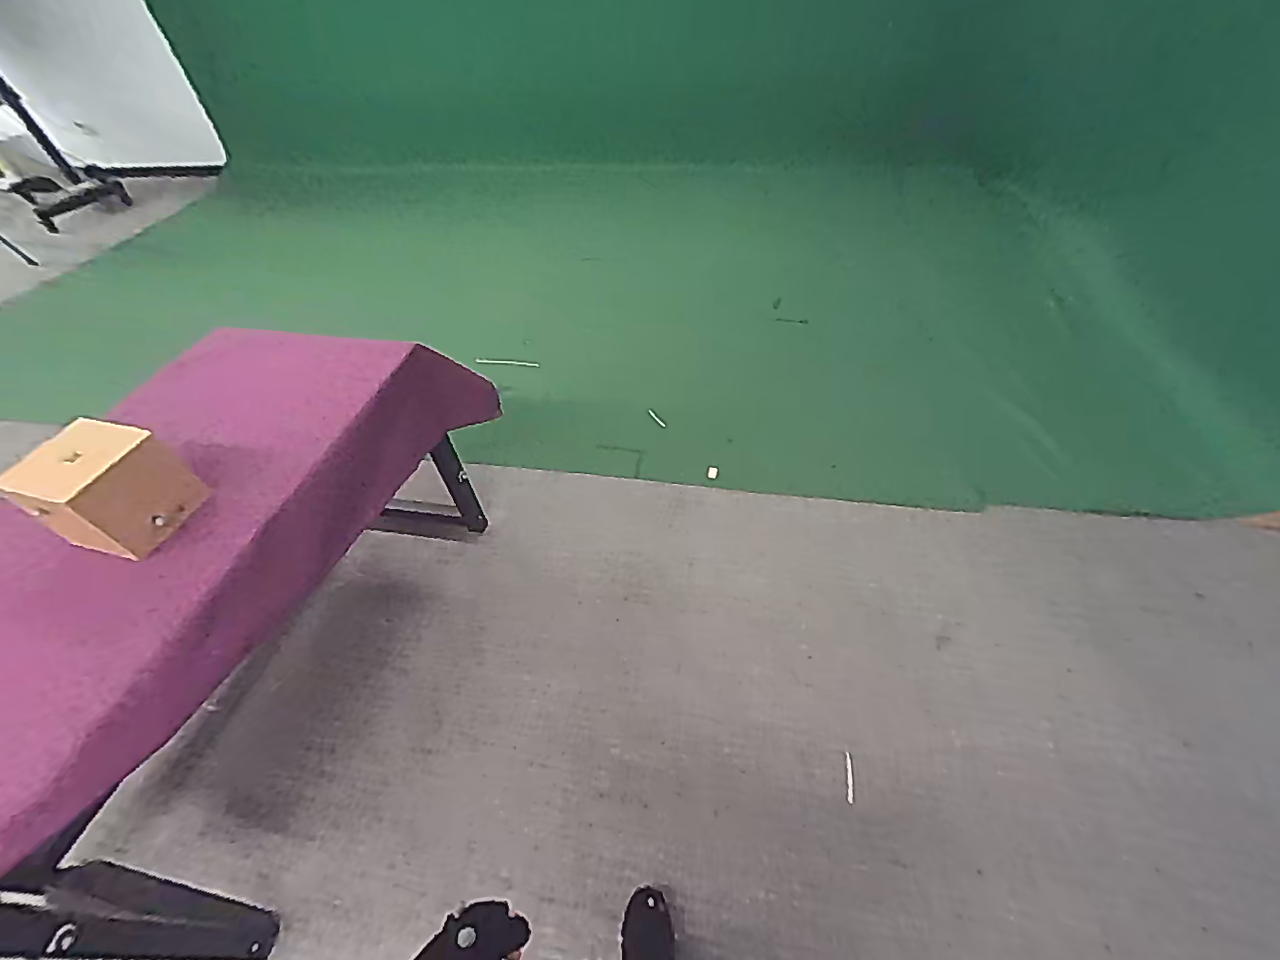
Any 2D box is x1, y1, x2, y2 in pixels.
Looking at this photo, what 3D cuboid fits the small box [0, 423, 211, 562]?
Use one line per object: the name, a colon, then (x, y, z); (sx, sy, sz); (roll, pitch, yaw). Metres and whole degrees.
small box: (-0.928, 0.024, 0.950); (0.179, 0.176, 0.168); (10, 50, 14)
